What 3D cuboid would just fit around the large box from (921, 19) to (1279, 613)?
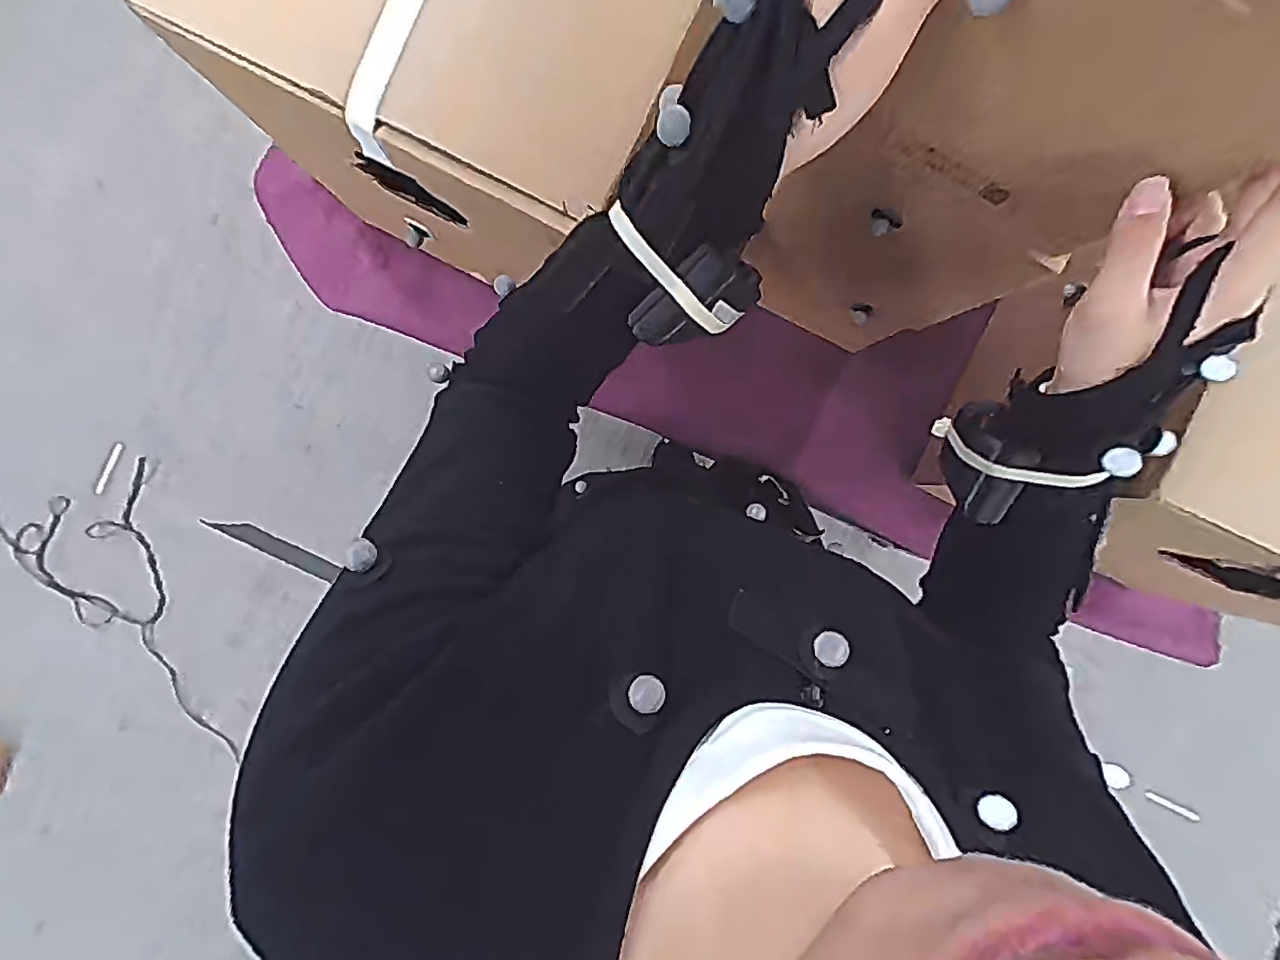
[{"bbox_3d":[0.545,-0.113,0.496,0.320,0.320,0.408,24,90,-2],"label":"large box"}]
